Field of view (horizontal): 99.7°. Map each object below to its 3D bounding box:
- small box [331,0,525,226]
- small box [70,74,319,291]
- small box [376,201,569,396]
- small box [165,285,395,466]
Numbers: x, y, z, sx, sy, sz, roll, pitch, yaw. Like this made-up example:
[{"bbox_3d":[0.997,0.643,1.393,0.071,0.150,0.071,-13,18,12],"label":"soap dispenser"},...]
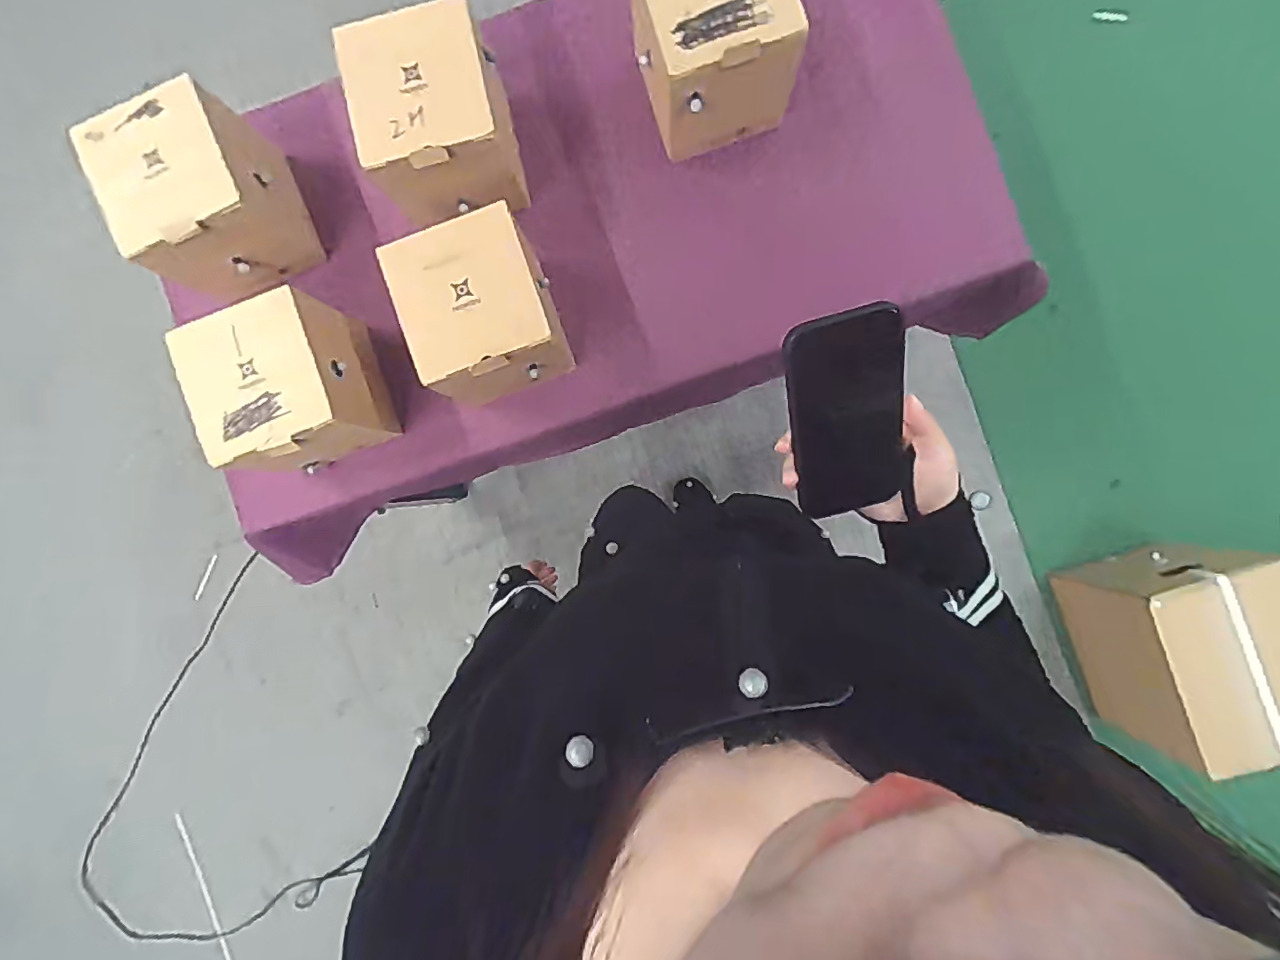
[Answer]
[{"bbox_3d":[-0.265,-0.468,0.713,0.168,0.176,0.179,-12,90,3],"label":"small box"},{"bbox_3d":[-0.579,-0.377,0.729,0.168,0.176,0.179,-23,90,2],"label":"small box"},{"bbox_3d":[-0.204,-0.219,0.710,0.168,0.176,0.179,-19,88,2],"label":"small box"},{"bbox_3d":[-0.461,-0.124,0.722,0.168,0.176,0.179,-20,87,2],"label":"small box"}]
